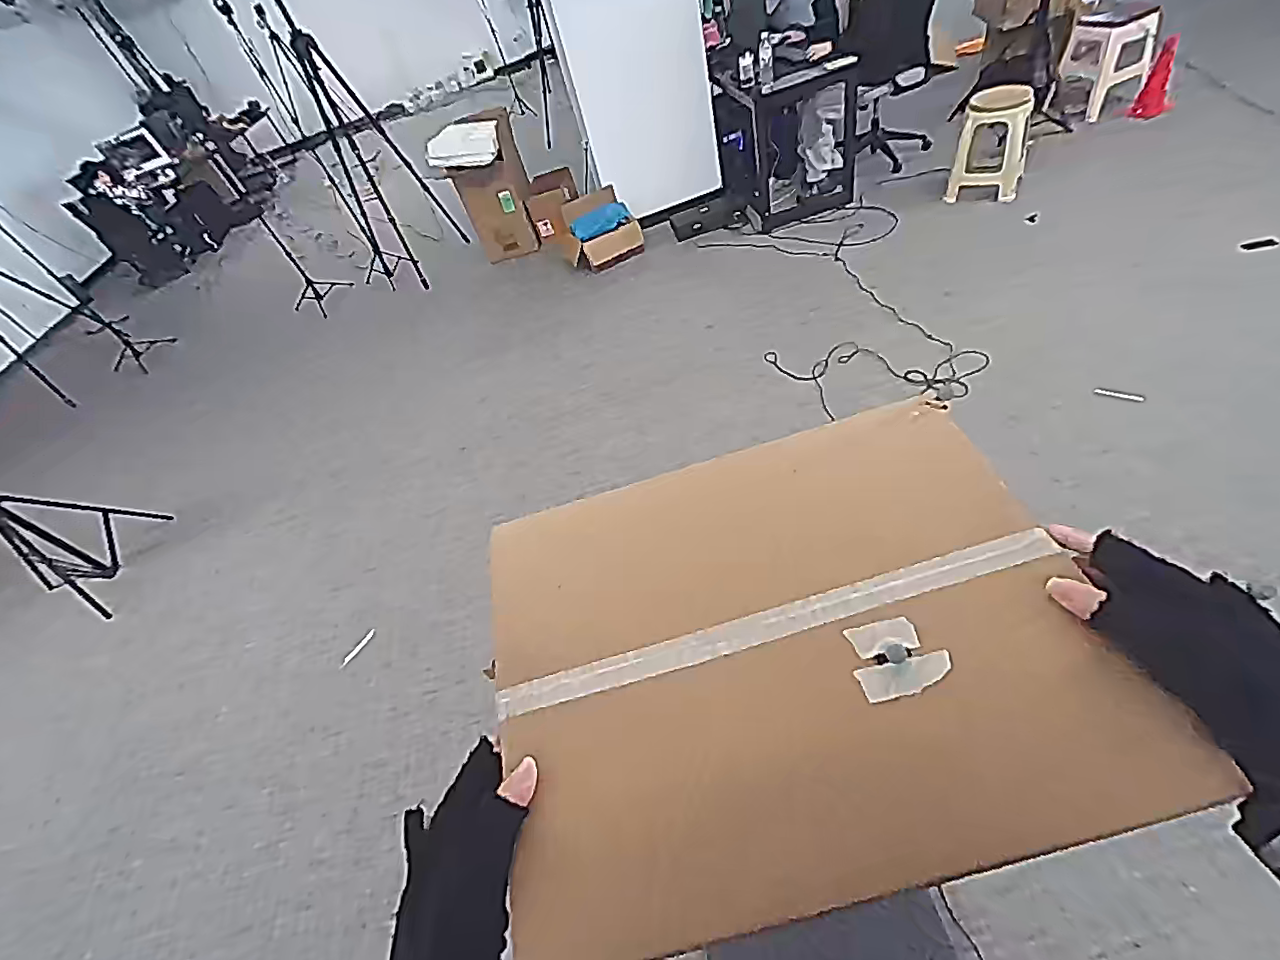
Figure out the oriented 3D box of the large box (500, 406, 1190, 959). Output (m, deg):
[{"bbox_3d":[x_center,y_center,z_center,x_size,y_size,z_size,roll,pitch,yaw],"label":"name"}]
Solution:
[{"bbox_3d":[0.122,0.193,0.517,0.408,0.320,0.320,-17,53,2],"label":"large box"}]
